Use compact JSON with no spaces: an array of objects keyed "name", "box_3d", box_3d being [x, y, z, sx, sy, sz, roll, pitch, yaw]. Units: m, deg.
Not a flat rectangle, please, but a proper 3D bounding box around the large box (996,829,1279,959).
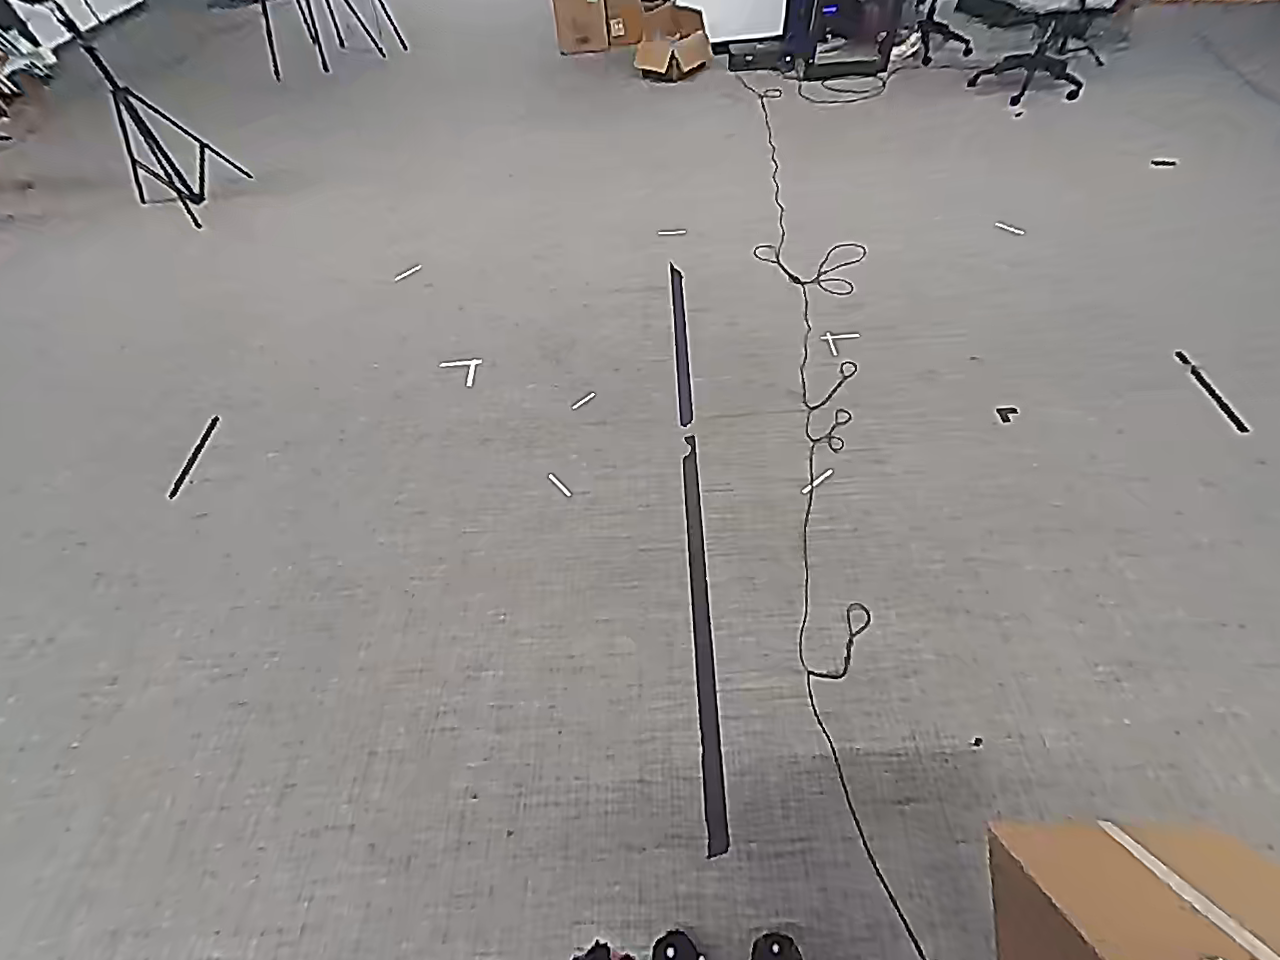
[{"name":"large box","box_3d":[0.650,0.652,0.572,0.320,0.408,0.320,-3,89,7]}]
